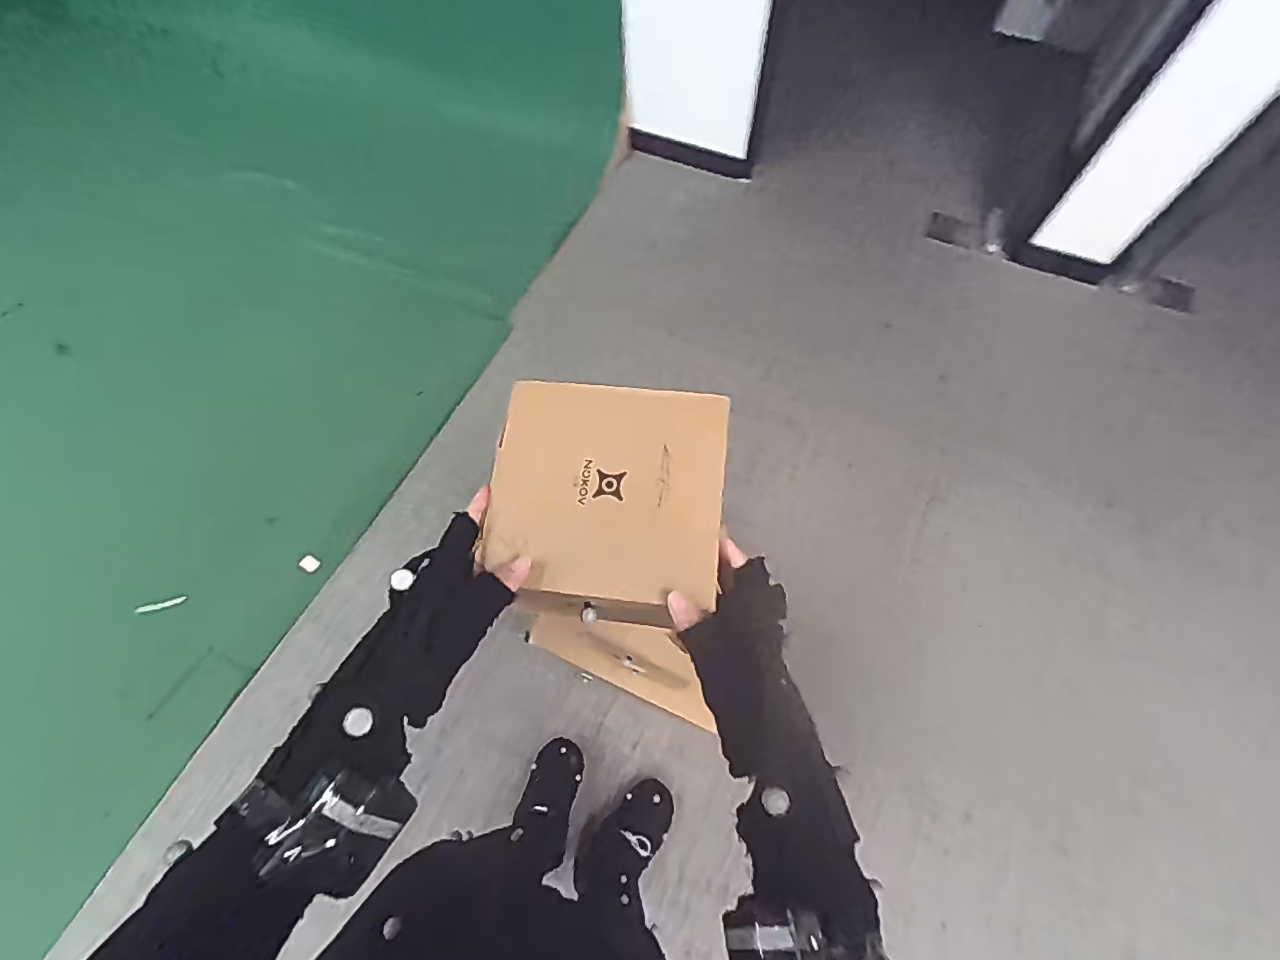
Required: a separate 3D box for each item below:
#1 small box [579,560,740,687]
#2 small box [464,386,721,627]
[{"bbox_3d":[0.030,0.196,0.808,0.179,0.176,0.168,21,68,10],"label":"small box"},{"bbox_3d":[-0.026,0.034,0.474,0.179,0.176,0.168,4,71,5],"label":"small box"}]
